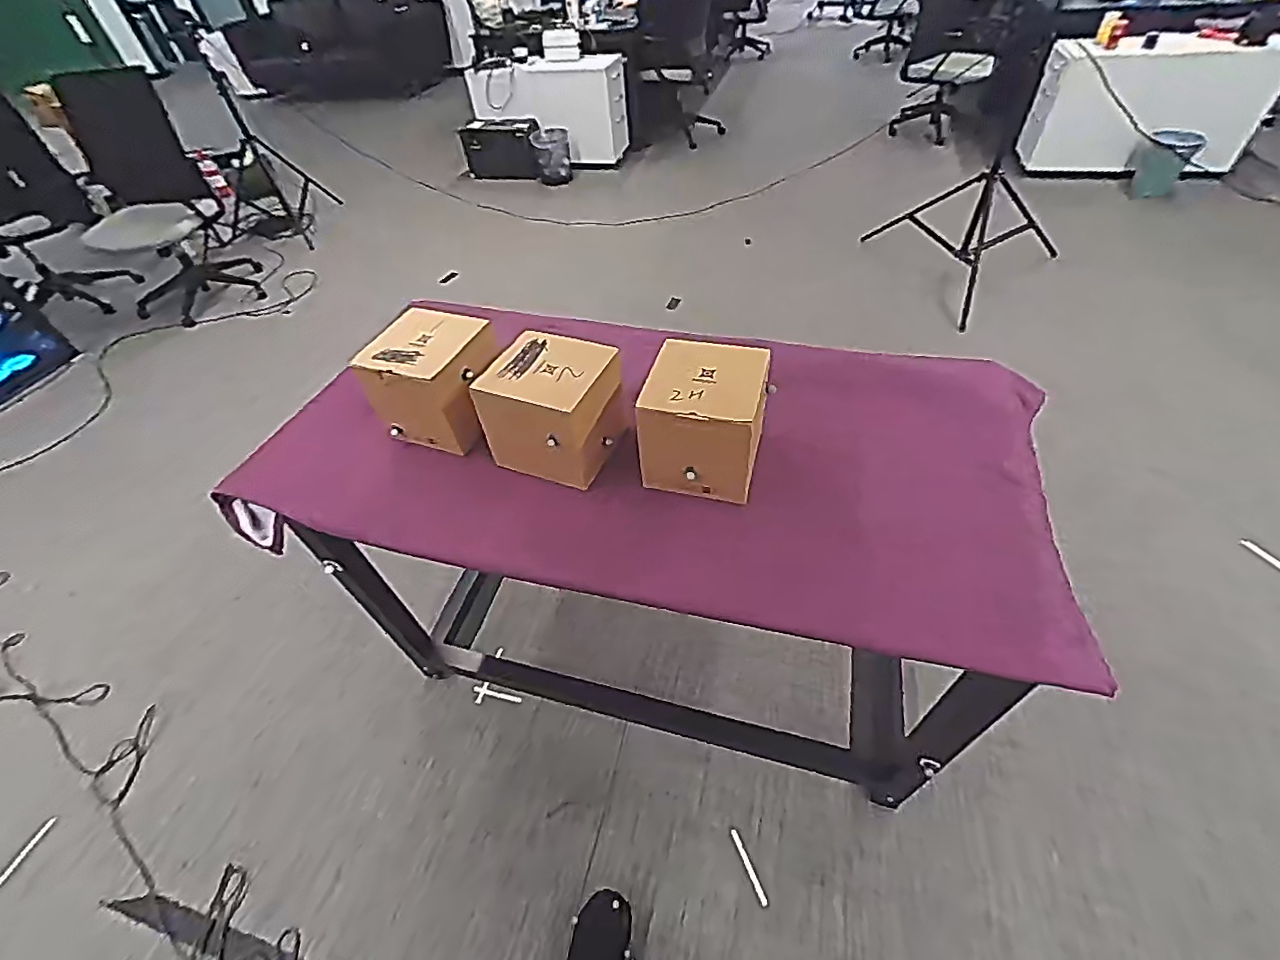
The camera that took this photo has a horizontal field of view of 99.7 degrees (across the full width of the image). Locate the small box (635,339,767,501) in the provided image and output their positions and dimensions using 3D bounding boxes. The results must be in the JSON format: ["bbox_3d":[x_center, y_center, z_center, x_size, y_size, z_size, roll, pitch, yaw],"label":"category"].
[{"bbox_3d":[0.097,-0.094,0.846,0.168,0.176,0.179,9,49,15],"label":"small box"}]

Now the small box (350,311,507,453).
[{"bbox_3d":[-0.360,-0.173,0.961,0.168,0.176,0.179,14,51,17],"label":"small box"}]
